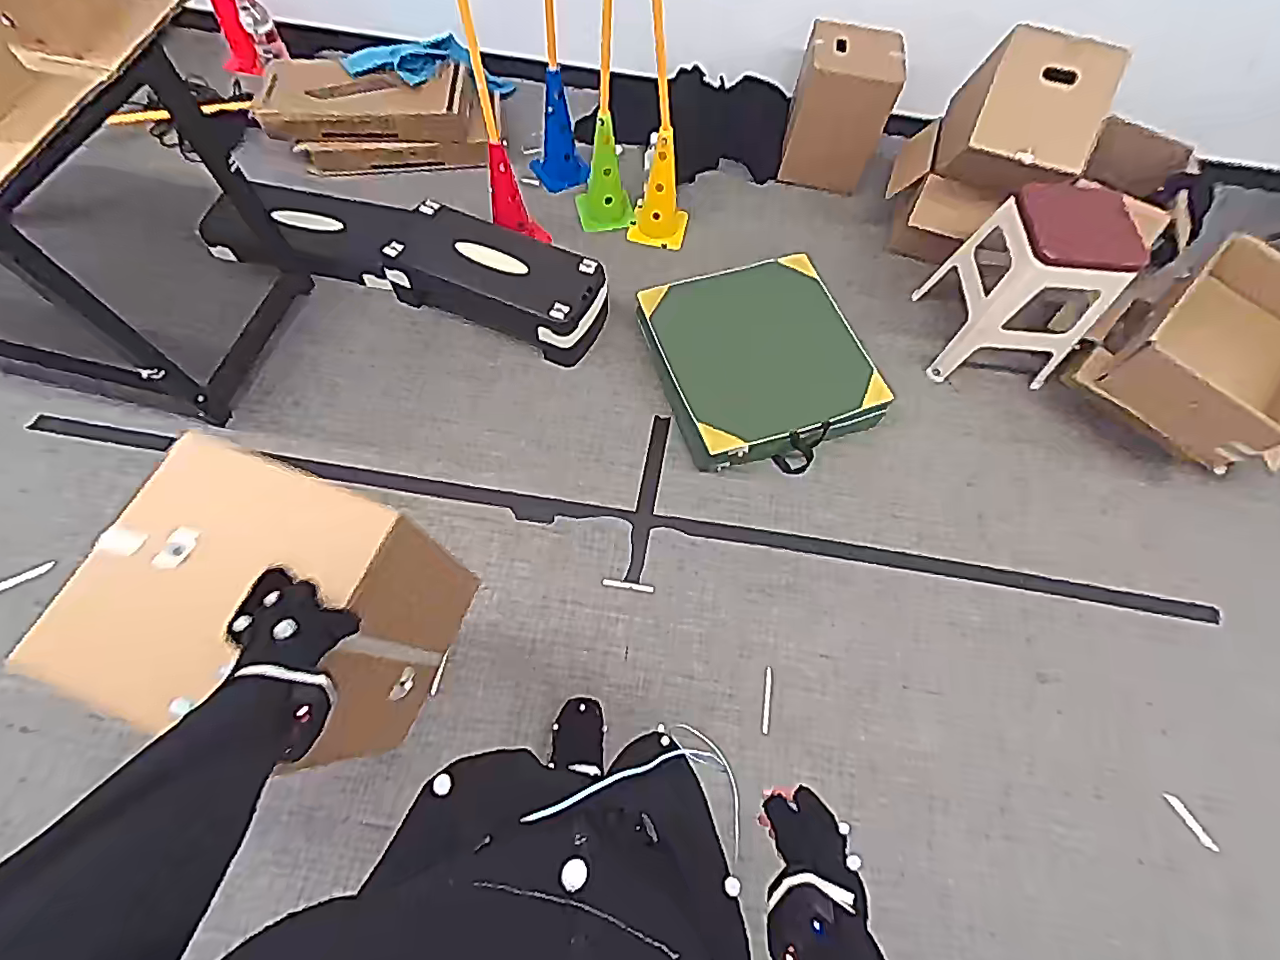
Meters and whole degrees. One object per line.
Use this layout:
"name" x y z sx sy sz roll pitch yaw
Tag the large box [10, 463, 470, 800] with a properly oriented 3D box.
"large box" -0.505 0.220 0.801 0.320 0.408 0.320 19 69 5
